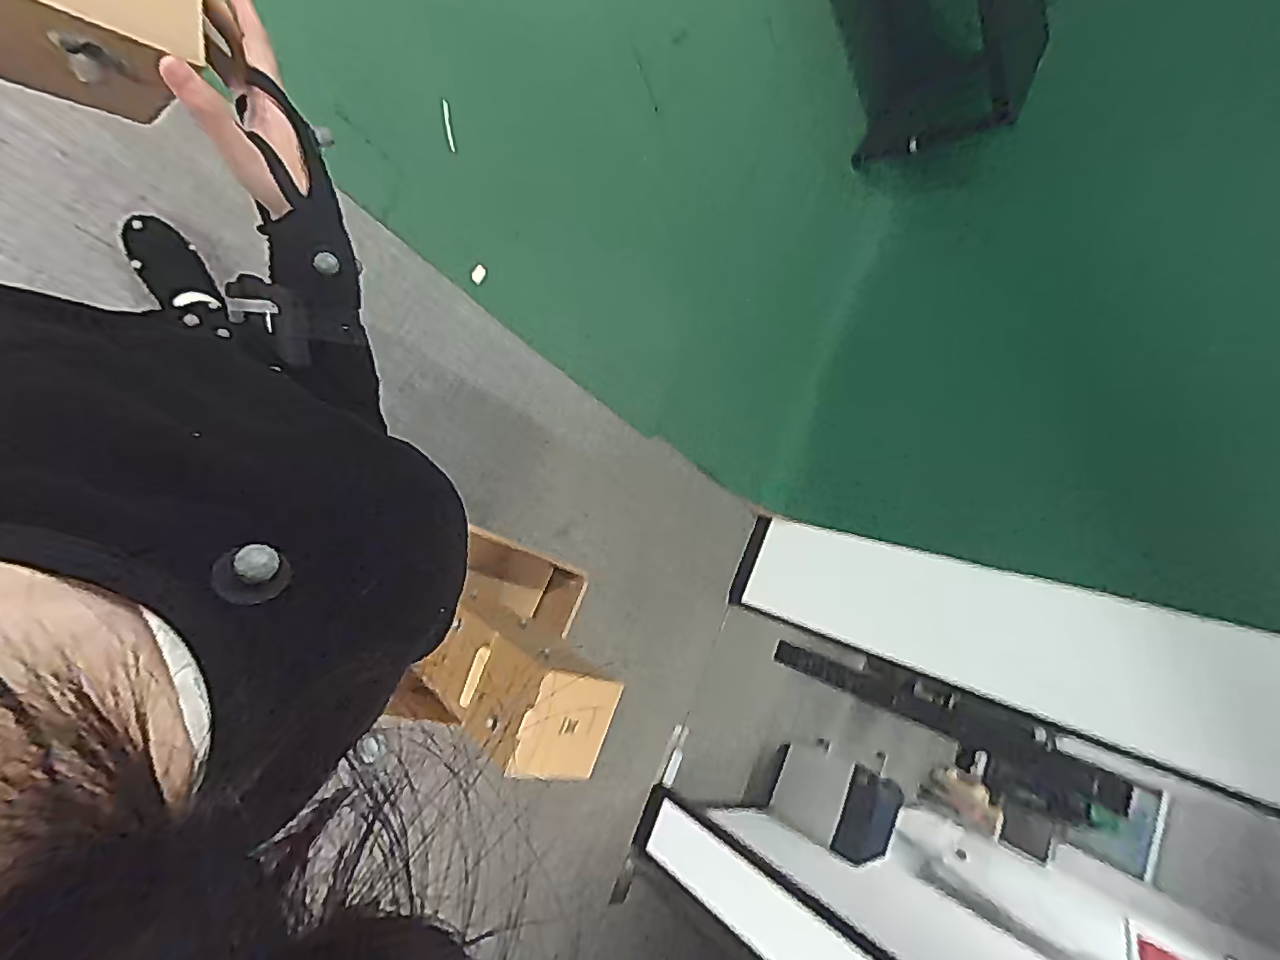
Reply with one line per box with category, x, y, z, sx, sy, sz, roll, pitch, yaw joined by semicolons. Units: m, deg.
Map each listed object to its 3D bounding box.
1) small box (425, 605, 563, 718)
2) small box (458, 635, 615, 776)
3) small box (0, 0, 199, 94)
small box;-0.288;0.354;1.053;0.179;0.176;0.168;26;80;-42
small box;-0.182;0.383;0.932;0.179;0.176;0.168;30;78;-41
small box;-0.365;-0.336;0.283;0.179;0.176;0.168;-8;108;-50
